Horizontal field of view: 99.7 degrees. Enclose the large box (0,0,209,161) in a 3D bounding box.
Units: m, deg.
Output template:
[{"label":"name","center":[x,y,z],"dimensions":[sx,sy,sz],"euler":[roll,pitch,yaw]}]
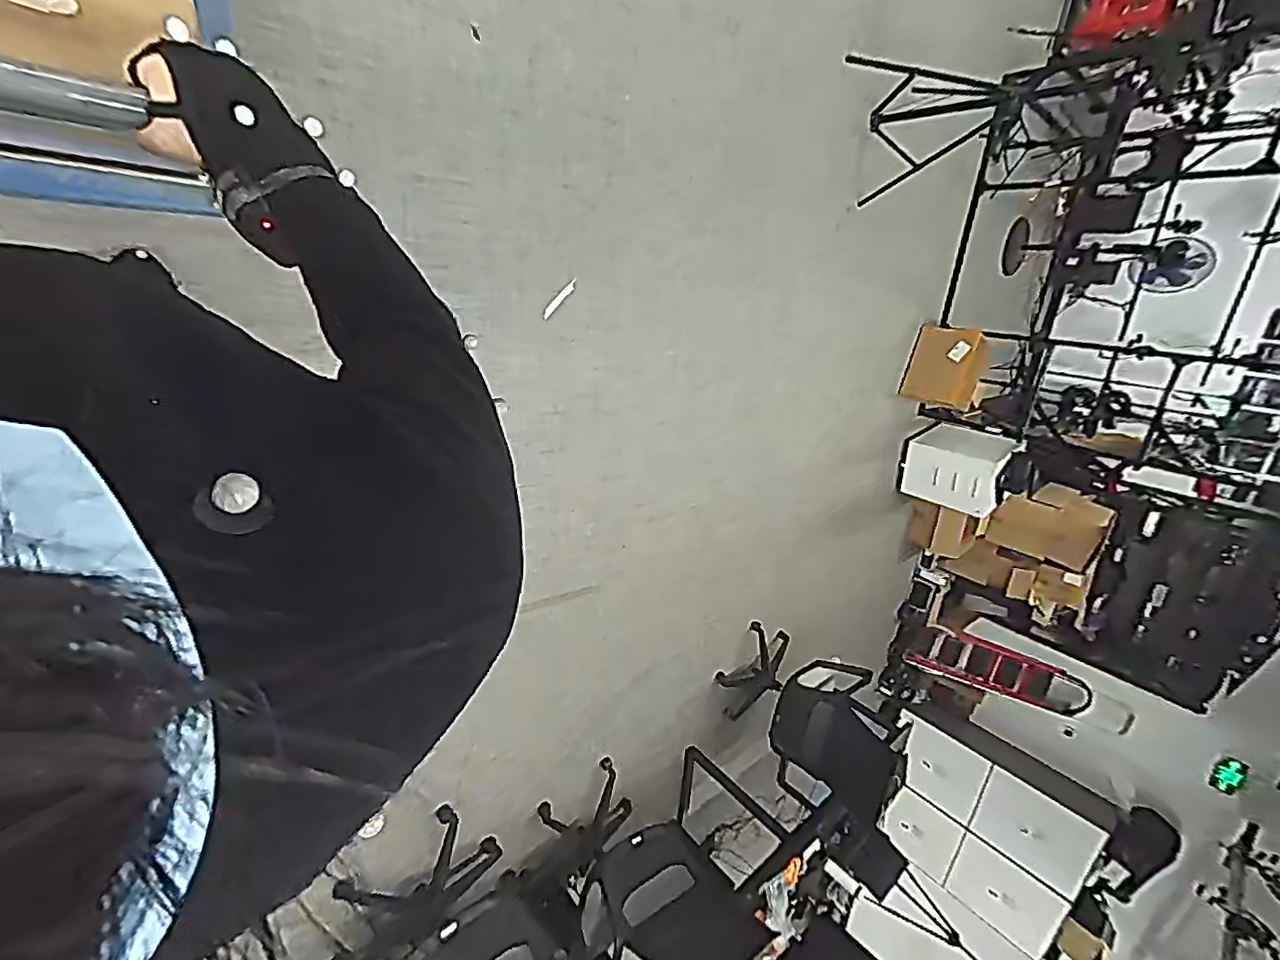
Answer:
[{"label":"large box","center":[-0.812,-0.606,0.643],"dimensions":[0.408,0.320,0.320],"euler":[-13,117,-41]}]
